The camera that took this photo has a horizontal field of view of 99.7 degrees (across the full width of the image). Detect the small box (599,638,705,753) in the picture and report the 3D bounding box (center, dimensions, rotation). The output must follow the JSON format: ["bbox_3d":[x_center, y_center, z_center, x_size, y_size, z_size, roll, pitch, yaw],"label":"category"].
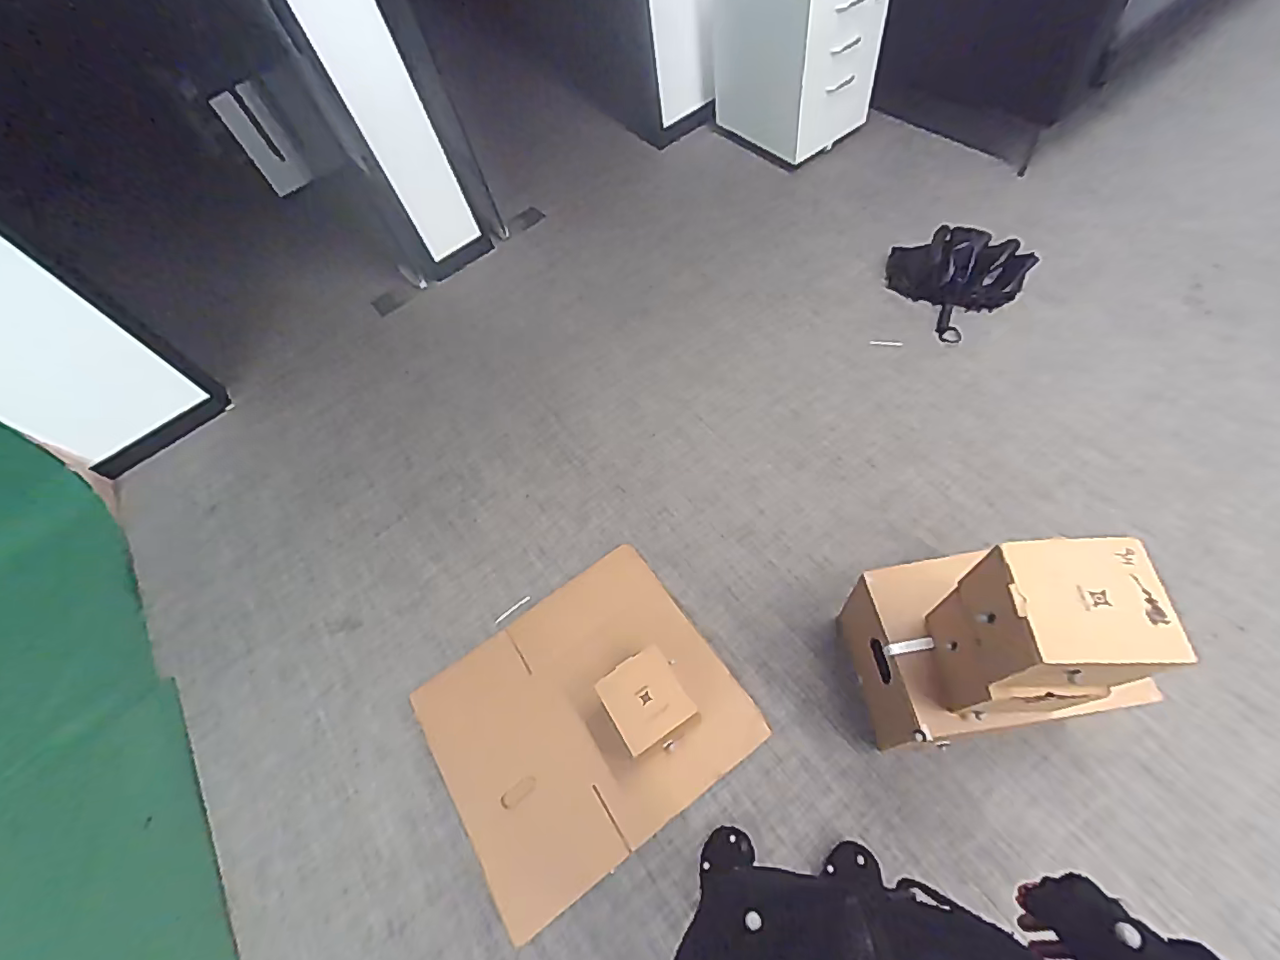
[{"bbox_3d":[0.032,0.494,1.226,0.168,0.176,0.179,-34,60,-8],"label":"small box"}]

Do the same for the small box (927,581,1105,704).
[{"bbox_3d":[0.607,0.274,0.903,0.168,0.176,0.179,-5,60,7],"label":"small box"}]

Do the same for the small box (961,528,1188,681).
[{"bbox_3d":[0.588,0.184,0.770,0.179,0.176,0.168,-6,58,6],"label":"small box"}]
